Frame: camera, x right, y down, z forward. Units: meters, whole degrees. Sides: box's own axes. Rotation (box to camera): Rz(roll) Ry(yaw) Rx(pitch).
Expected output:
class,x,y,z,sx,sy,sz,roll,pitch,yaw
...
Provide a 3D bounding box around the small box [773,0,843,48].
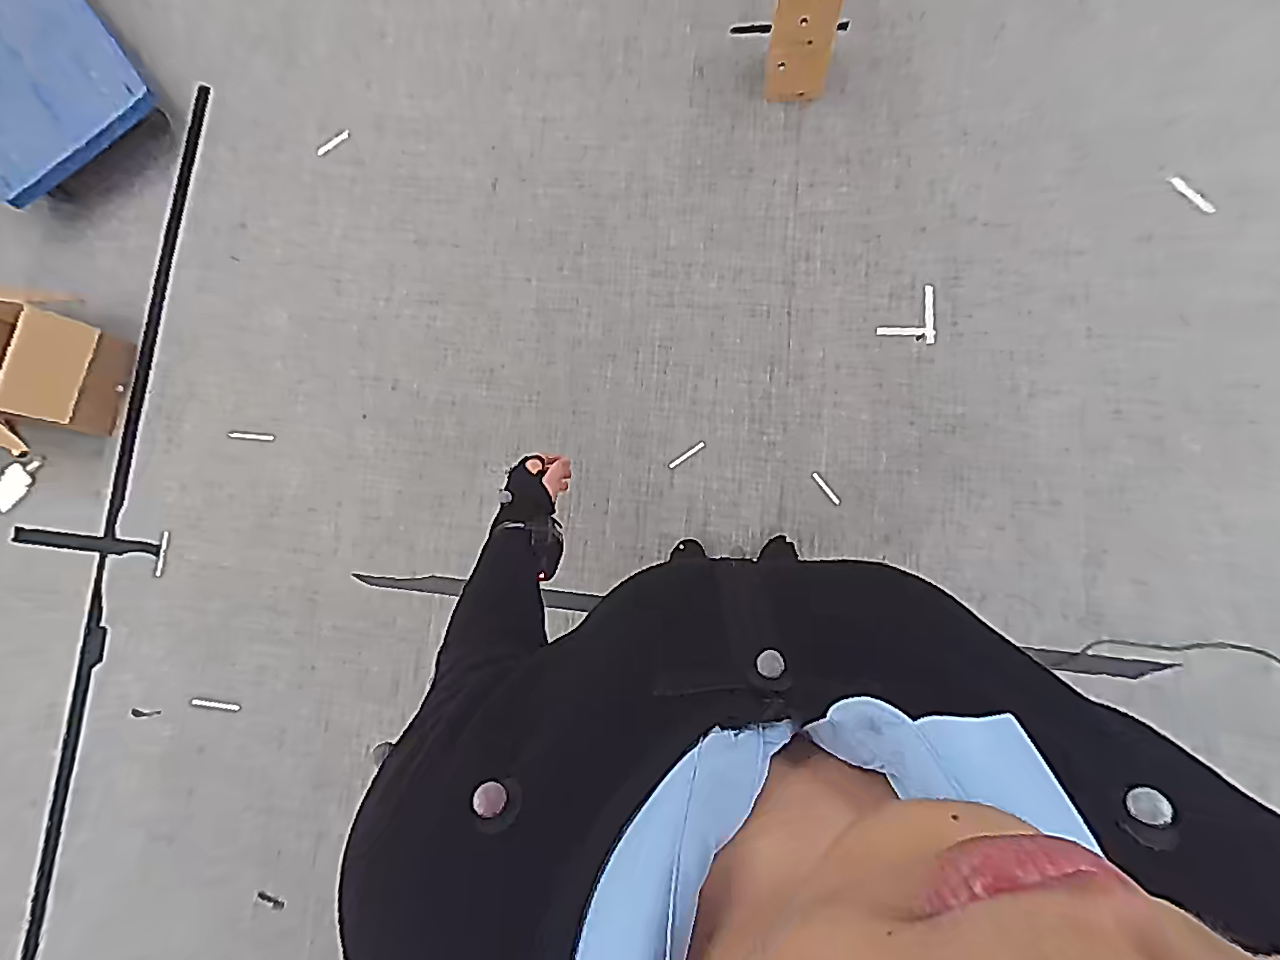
class,x,y,z,sx,sy,sz,roll,pitch,yaw
small box,0.453,-1.296,1.433,0.168,0.176,0.179,9,82,6
